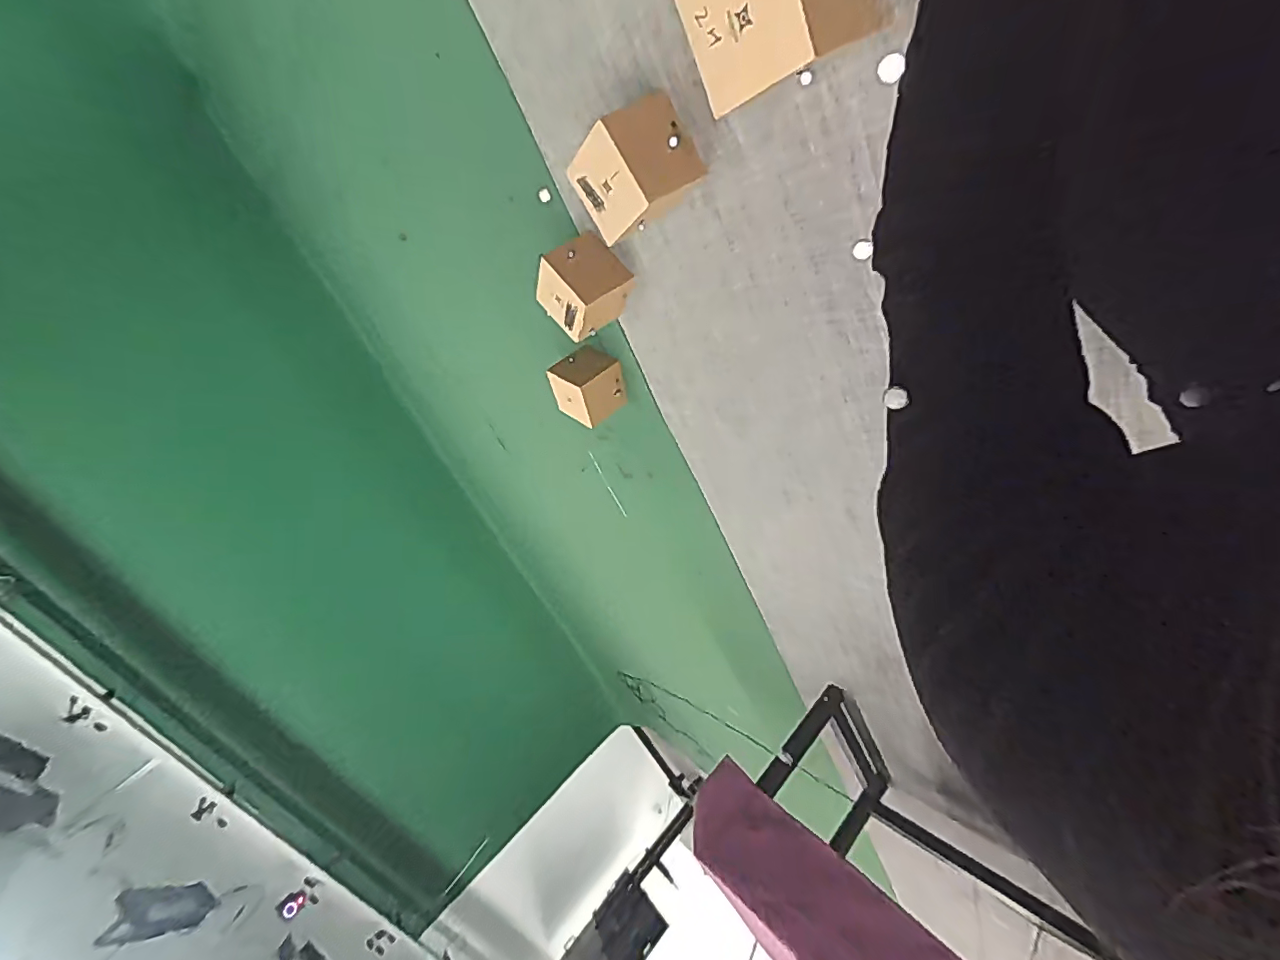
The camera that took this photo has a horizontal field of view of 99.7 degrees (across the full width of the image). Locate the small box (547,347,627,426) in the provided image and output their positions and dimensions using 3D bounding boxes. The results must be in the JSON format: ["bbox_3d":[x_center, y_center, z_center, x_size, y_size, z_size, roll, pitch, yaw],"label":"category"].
[{"bbox_3d":[-0.168,-0.308,1.749,0.179,0.176,0.168,32,150,35],"label":"small box"}]

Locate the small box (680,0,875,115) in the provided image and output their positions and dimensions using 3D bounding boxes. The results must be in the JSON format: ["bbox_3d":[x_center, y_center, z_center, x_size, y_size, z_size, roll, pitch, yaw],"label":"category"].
[{"bbox_3d":[0.186,-0.627,0.713,0.179,0.176,0.168,11,134,54],"label":"small box"}]

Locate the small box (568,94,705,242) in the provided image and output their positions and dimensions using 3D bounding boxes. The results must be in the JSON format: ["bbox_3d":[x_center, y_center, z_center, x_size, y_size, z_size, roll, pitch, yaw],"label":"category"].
[{"bbox_3d":[-0.006,-0.607,1.061,0.168,0.176,0.179,57,154,-13],"label":"small box"}]
